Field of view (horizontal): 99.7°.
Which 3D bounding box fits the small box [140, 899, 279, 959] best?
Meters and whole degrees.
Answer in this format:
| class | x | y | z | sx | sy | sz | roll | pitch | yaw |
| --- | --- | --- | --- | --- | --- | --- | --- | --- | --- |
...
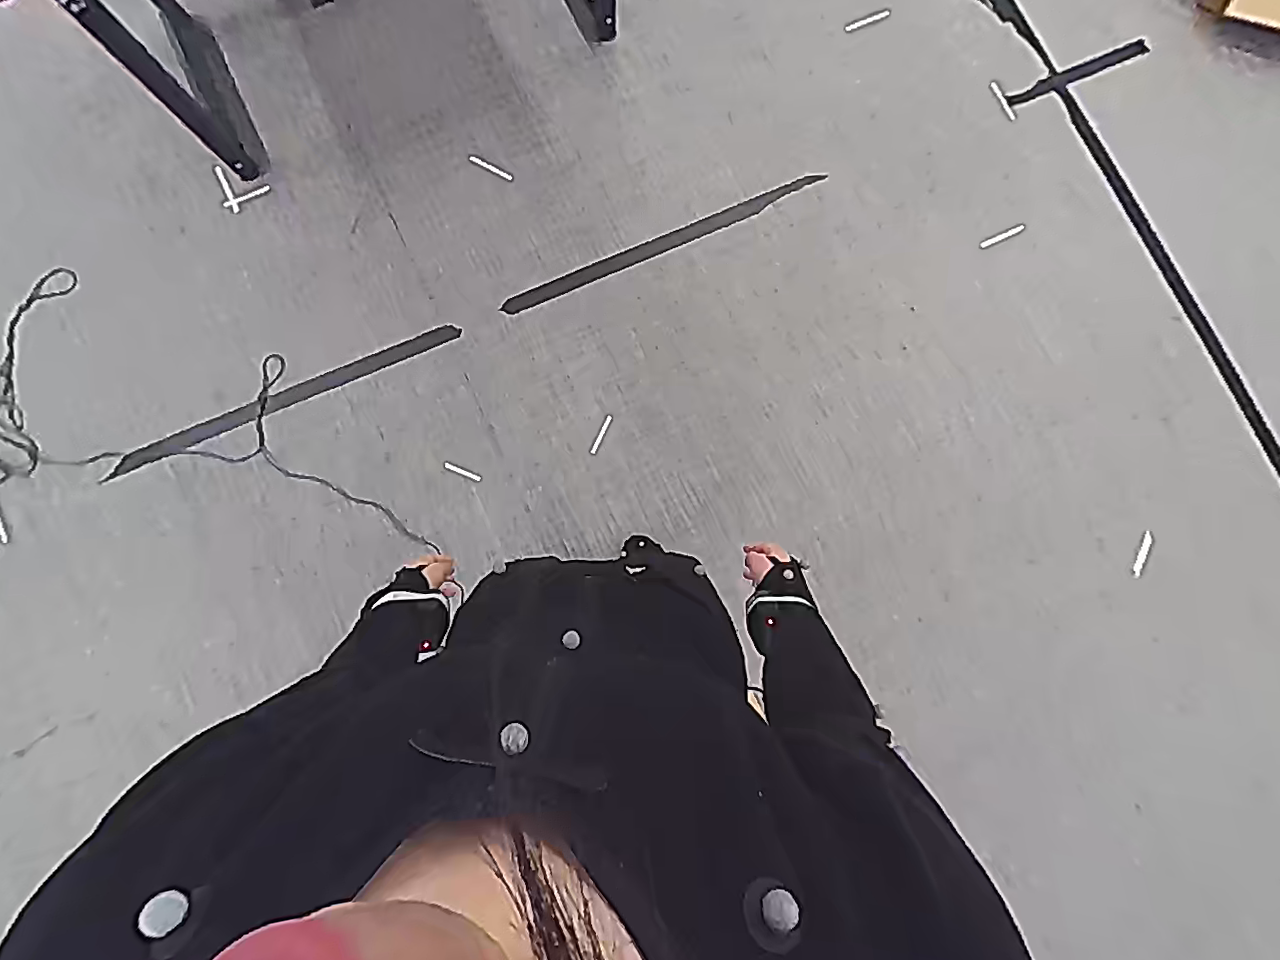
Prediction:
| class | x | y | z | sx | sy | sz | roll | pitch | yaw |
| --- | --- | --- | --- | --- | --- | --- | --- | --- | --- |
| small box | -0.812 | 0.931 | 0.986 | 0.168 | 0.176 | 0.179 | 24 | 83 | 1 |
